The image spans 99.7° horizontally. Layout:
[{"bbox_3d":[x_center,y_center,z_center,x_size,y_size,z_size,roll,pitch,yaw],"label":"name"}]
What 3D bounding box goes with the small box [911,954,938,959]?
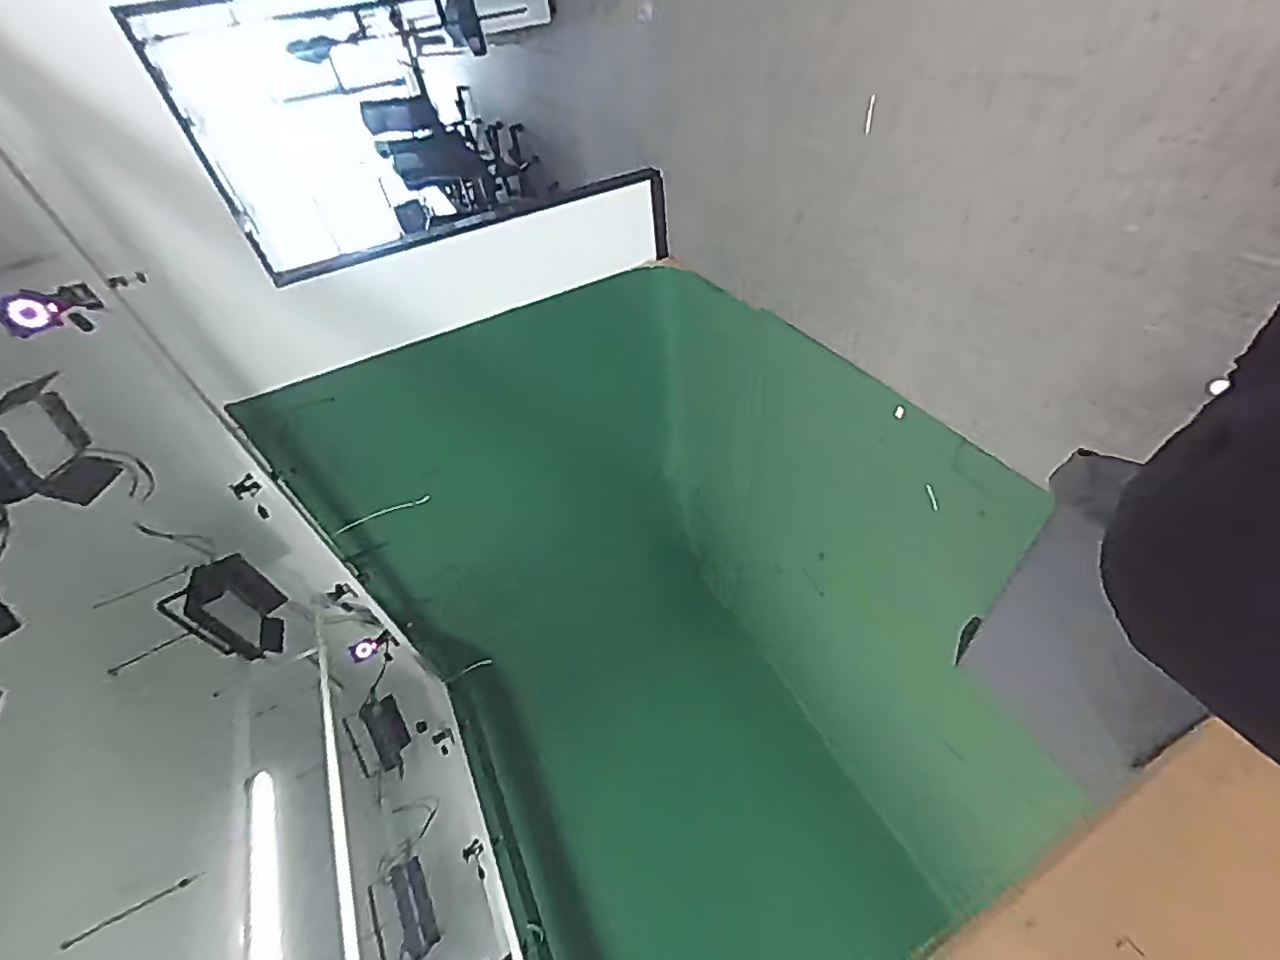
[{"bbox_3d":[0.295,0.654,0.574,0.168,0.176,0.179,51,158,43],"label":"small box"}]
